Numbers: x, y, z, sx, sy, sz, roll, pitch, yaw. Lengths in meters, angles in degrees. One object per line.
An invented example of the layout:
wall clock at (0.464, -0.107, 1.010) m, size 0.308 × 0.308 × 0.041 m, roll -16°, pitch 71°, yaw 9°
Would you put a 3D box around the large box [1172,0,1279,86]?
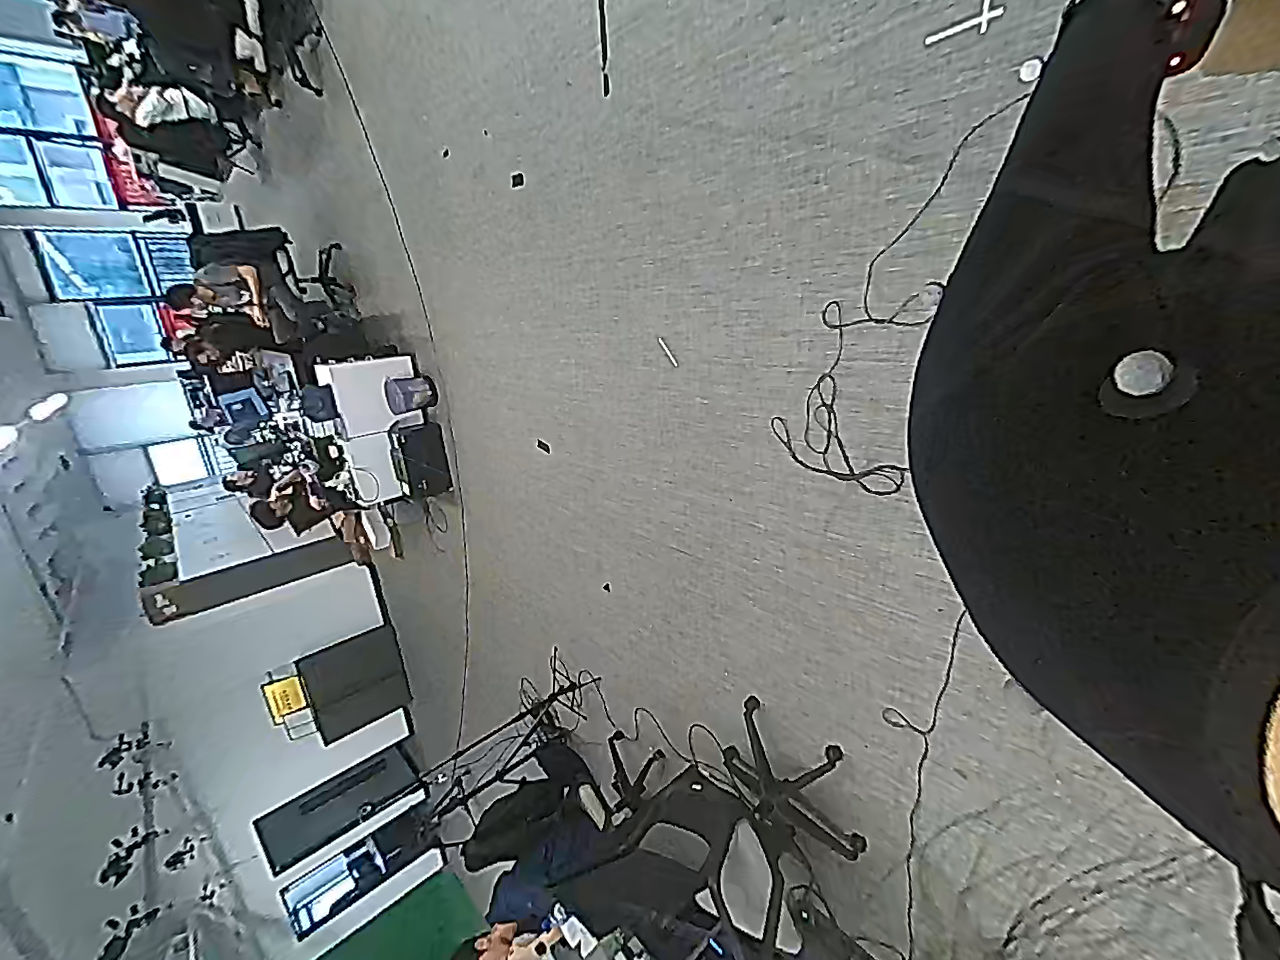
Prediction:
large box at (0.668, -0.481, 0.335) m, size 0.408 × 0.320 × 0.320 m, roll 27°, pitch 126°, yaw 39°
